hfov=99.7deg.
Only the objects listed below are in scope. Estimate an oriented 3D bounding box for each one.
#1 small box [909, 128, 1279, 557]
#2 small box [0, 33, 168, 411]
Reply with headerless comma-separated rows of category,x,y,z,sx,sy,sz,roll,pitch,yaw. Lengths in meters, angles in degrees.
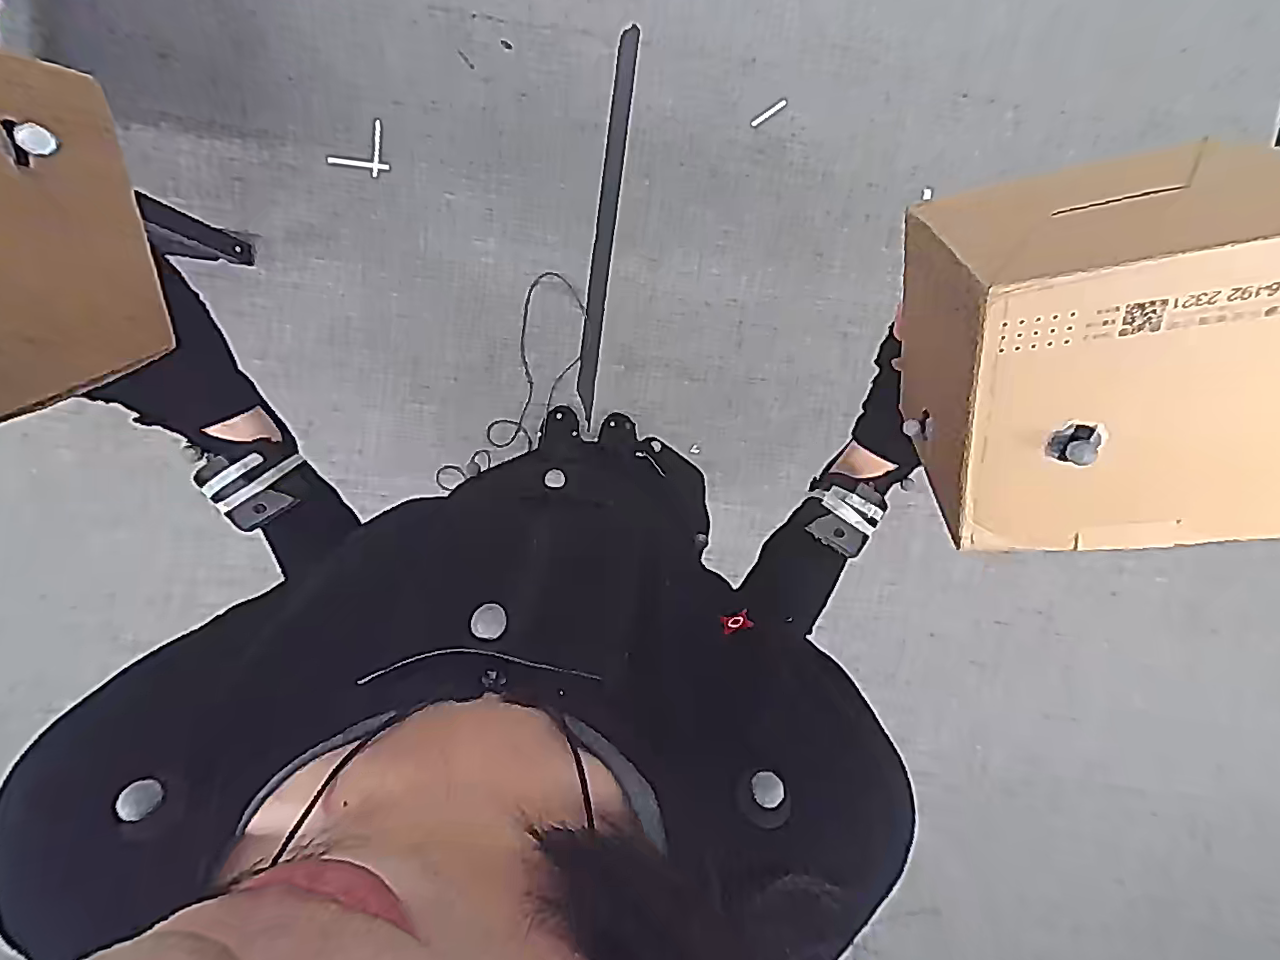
small box,0.263,-0.079,0.310,0.168,0.179,0.176,-5,127,16
small box,-0.393,-0.133,0.261,0.168,0.179,0.176,0,117,-12
